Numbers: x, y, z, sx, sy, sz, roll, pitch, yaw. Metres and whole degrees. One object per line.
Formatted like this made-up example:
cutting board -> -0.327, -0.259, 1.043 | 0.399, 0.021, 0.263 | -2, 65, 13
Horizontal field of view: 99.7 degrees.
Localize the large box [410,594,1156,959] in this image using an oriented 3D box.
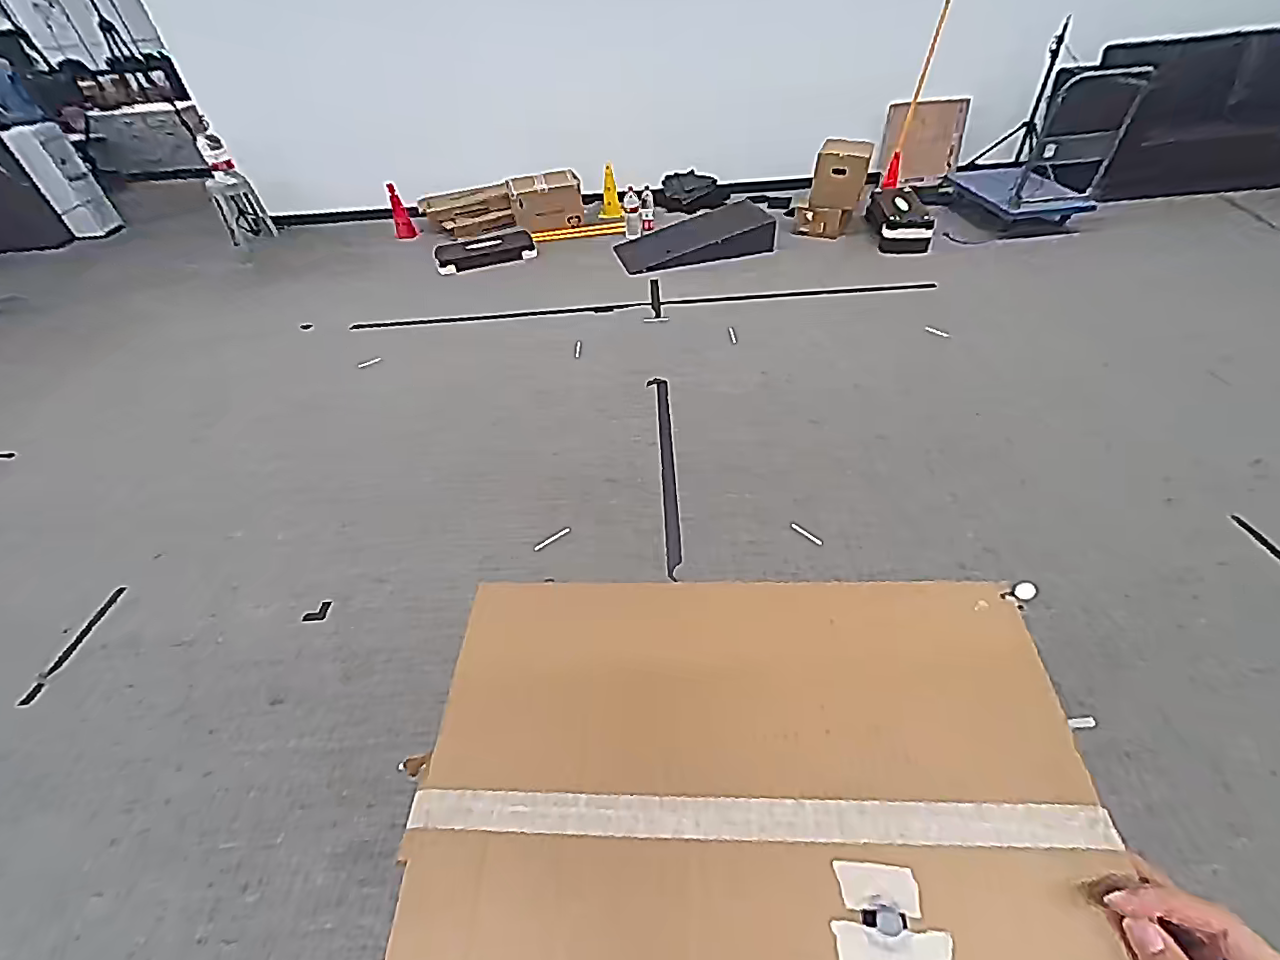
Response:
large box -> 0.080, 0.305, 0.442 | 0.408, 0.320, 0.320 | -1, 52, 4
